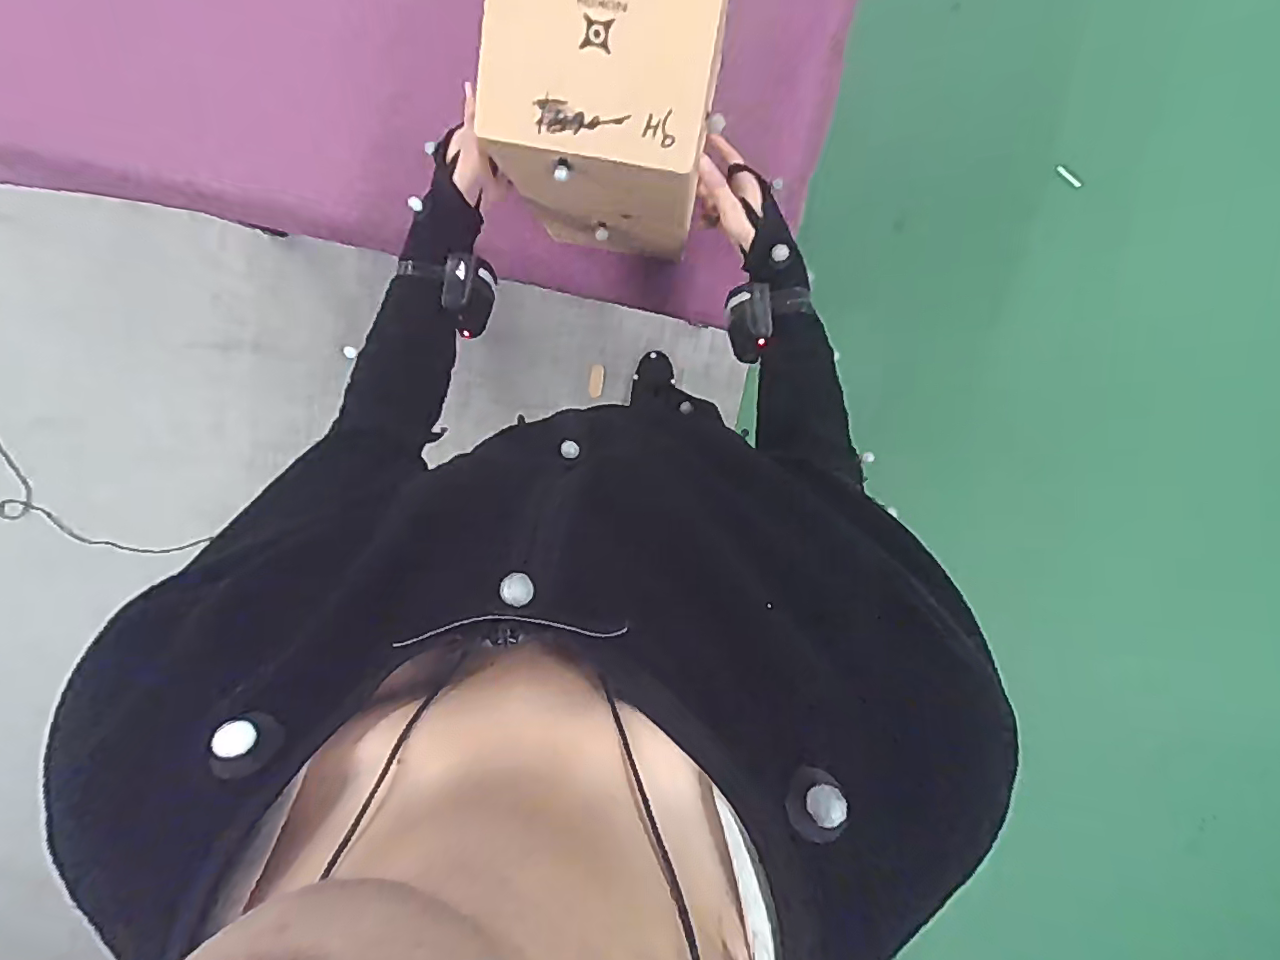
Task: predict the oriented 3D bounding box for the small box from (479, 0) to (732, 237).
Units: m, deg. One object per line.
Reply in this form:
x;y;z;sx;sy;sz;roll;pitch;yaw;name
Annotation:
-0.020;-0.333;0.463;0.168;0.176;0.179;11;101;3;small box

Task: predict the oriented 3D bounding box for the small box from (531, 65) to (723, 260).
-0.011;-0.363;0.624;0.179;0.176;0.168;10;102;3;small box
